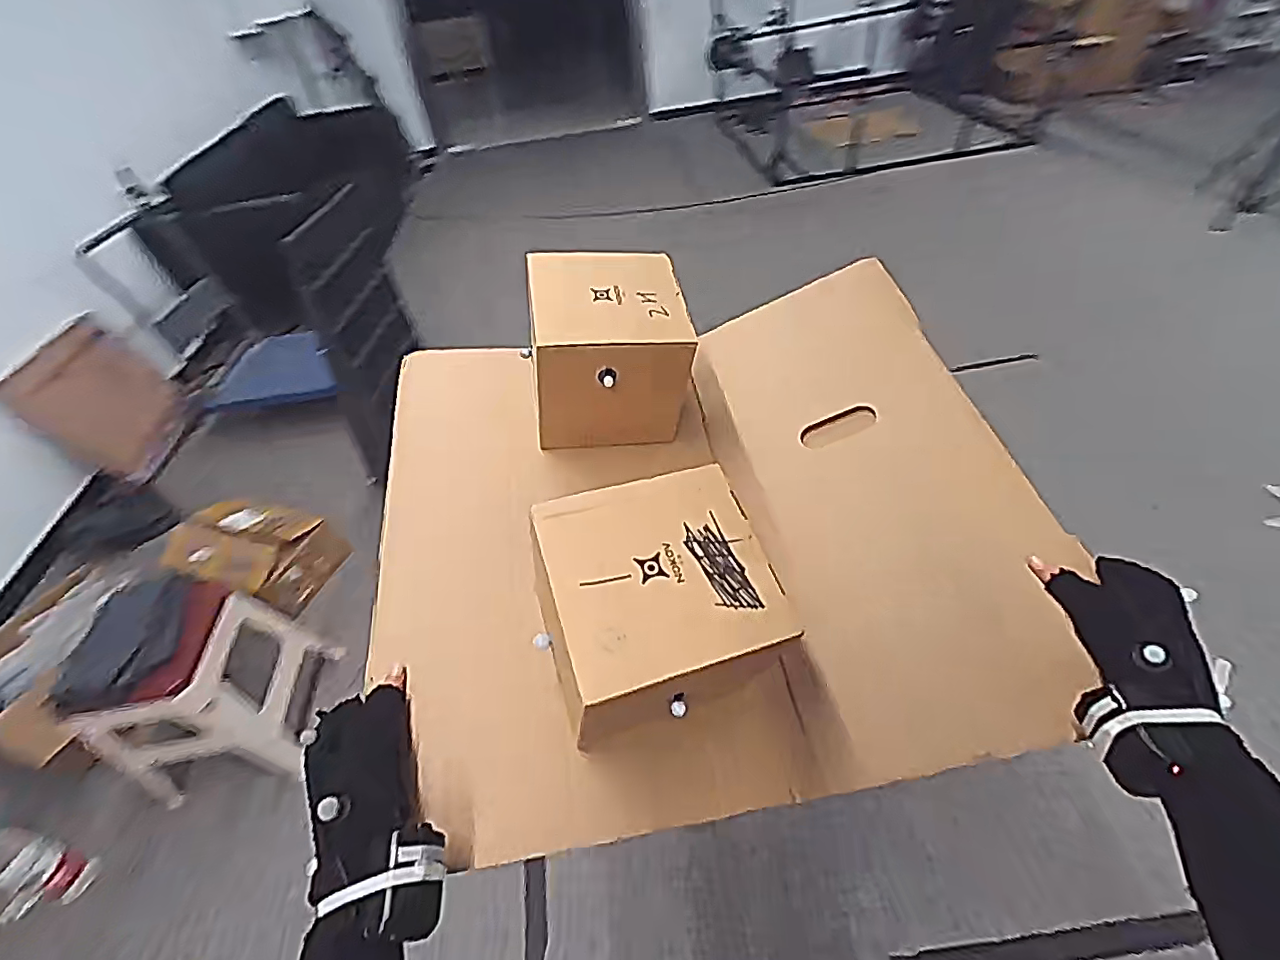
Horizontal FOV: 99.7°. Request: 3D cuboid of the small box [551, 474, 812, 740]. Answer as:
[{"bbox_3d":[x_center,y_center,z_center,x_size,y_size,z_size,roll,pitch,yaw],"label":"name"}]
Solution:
[{"bbox_3d":[0.019,0.120,0.499,0.179,0.176,0.168,-12,58,-15],"label":"small box"}]
